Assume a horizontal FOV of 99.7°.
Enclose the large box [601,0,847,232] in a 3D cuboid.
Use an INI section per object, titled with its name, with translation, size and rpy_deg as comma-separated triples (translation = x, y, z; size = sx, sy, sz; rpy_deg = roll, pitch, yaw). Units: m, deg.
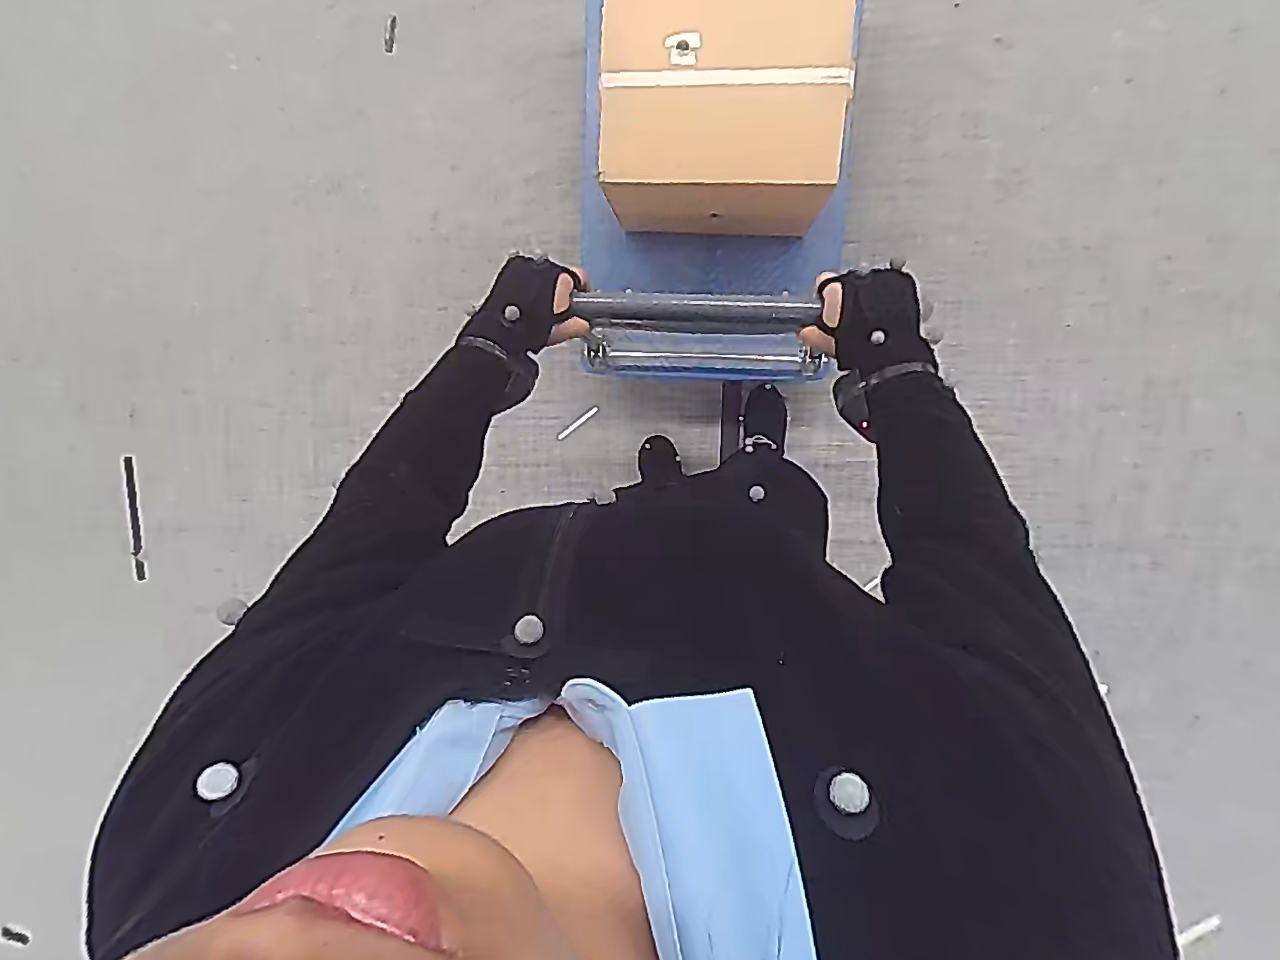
[large box]
translation = 0.154, -0.686, 1.053
size = 0.408, 0.320, 0.320
rpy_deg = 4, 99, 7
